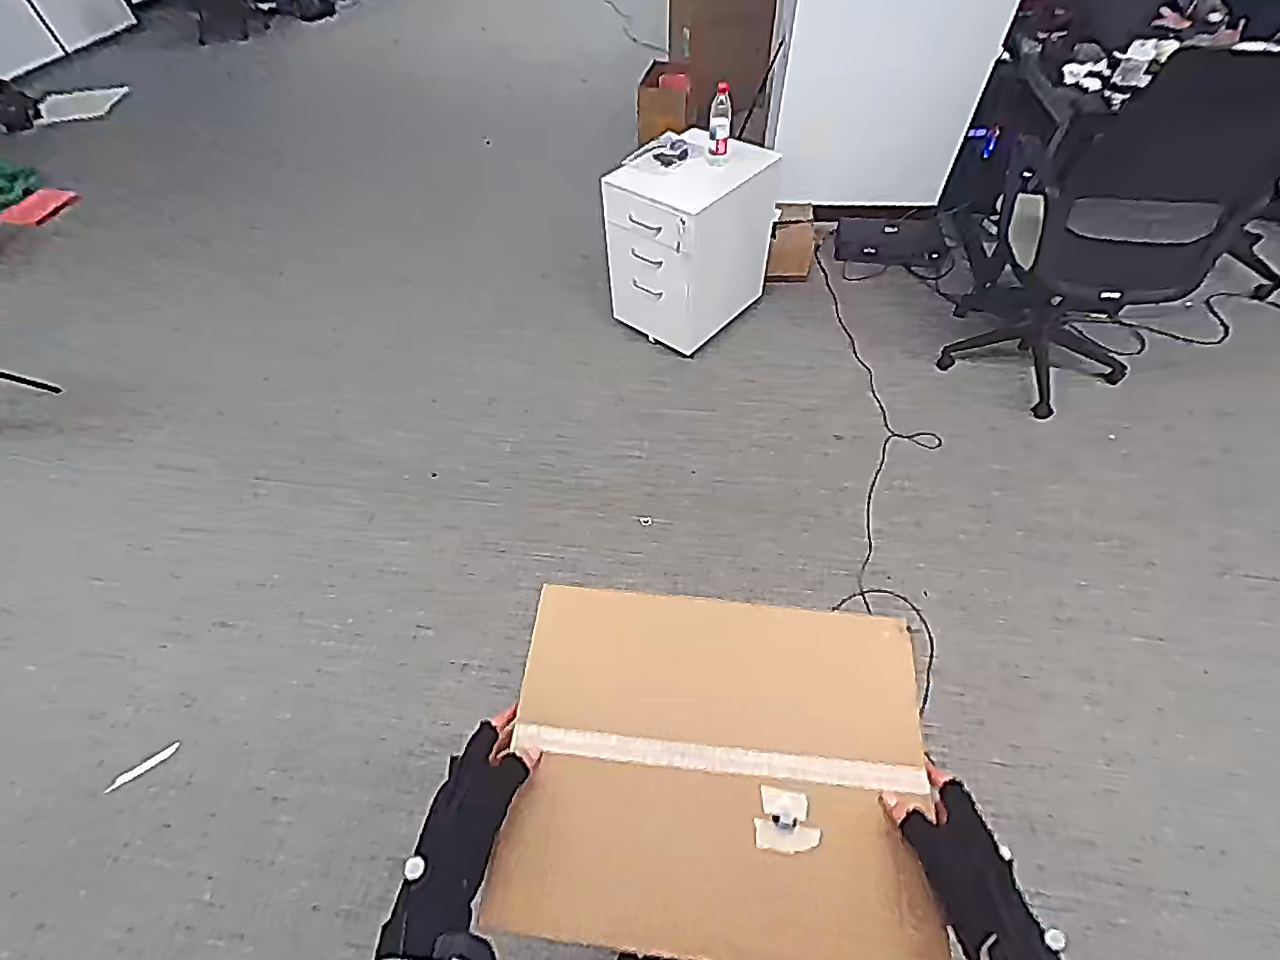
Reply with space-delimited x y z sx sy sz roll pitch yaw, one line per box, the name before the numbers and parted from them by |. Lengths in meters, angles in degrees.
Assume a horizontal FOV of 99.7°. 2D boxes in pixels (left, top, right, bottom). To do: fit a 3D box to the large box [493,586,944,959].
large box | 0.079 0.341 0.671 0.408 0.320 0.320 5 63 4
